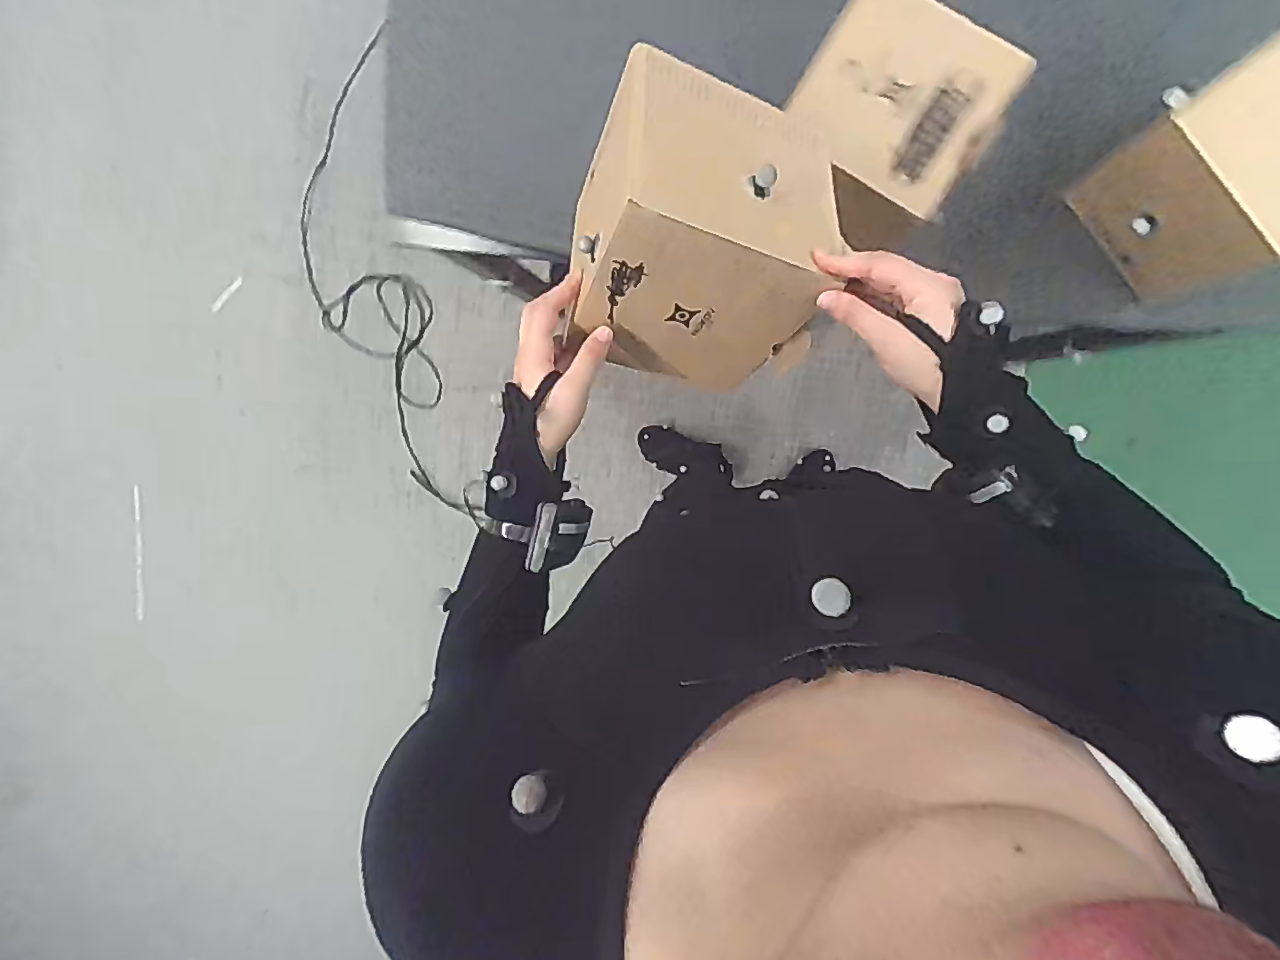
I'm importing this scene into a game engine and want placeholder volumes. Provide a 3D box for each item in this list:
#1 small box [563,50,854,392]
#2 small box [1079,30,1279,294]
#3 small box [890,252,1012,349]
[{"bbox_3d":[0.048,-0.201,0.451,0.179,0.168,0.176,12,66,-20],"label":"small box"},{"bbox_3d":[0.597,-0.316,0.541,0.179,0.176,0.168,-36,88,10],"label":"small box"},{"bbox_3d":[0.709,-0.408,1.259,0.179,0.176,0.168,13,99,5],"label":"small box"}]
